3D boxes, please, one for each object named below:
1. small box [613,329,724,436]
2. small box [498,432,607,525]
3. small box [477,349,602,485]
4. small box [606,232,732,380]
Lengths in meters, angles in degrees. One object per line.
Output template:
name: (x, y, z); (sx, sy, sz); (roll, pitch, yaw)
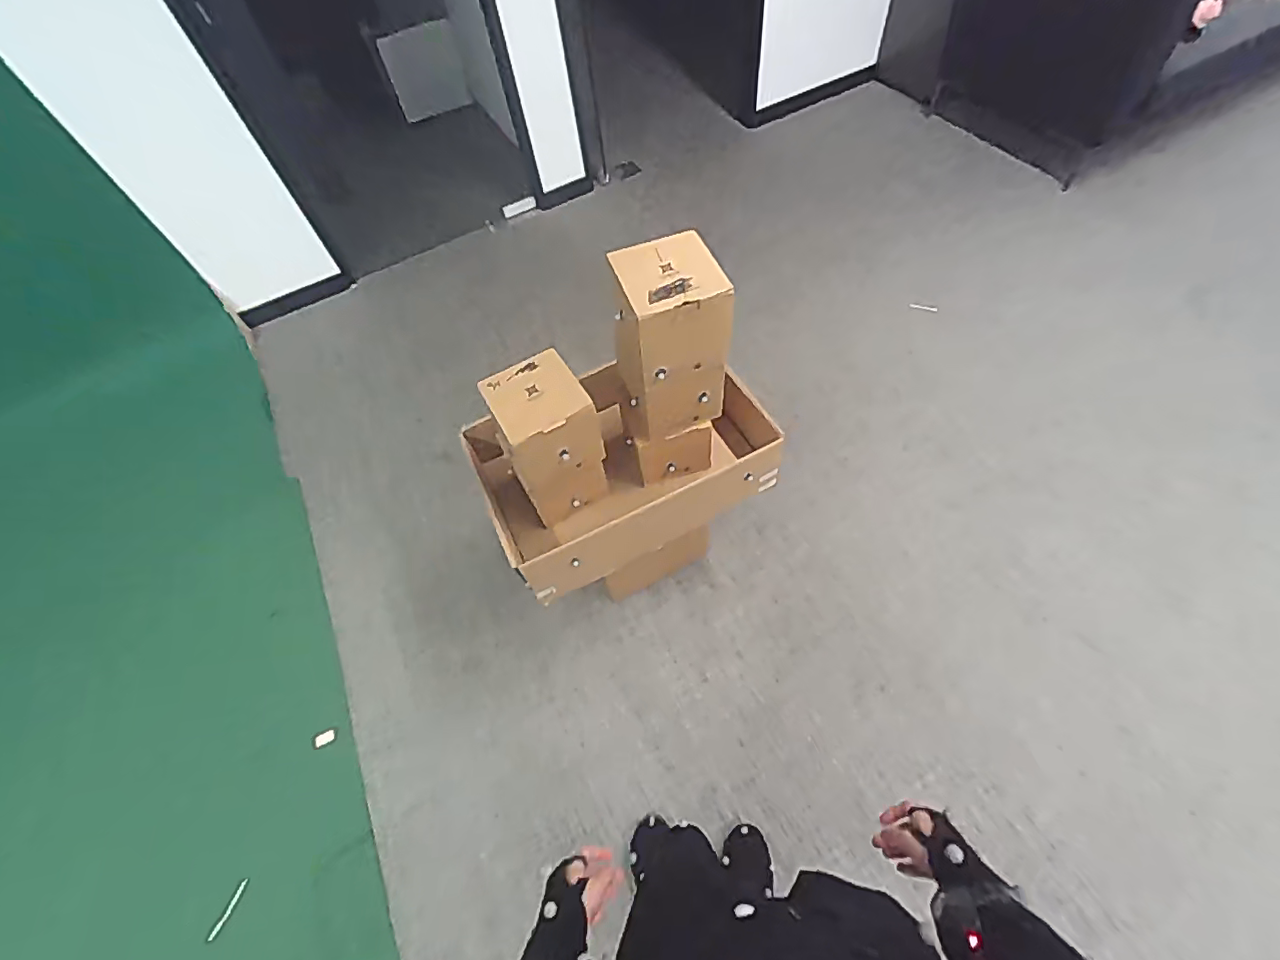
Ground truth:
small box: (0.058, -0.211, 1.091); (0.168, 0.176, 0.179); (-20, 58, -8)
small box: (-0.188, -0.032, 1.193); (0.168, 0.176, 0.179); (-29, 60, -12)
small box: (-0.187, -0.112, 1.049); (0.168, 0.176, 0.179); (-28, 60, -12)
small box: (0.051, -0.297, 0.952); (0.168, 0.176, 0.179); (-17, 57, -7)
